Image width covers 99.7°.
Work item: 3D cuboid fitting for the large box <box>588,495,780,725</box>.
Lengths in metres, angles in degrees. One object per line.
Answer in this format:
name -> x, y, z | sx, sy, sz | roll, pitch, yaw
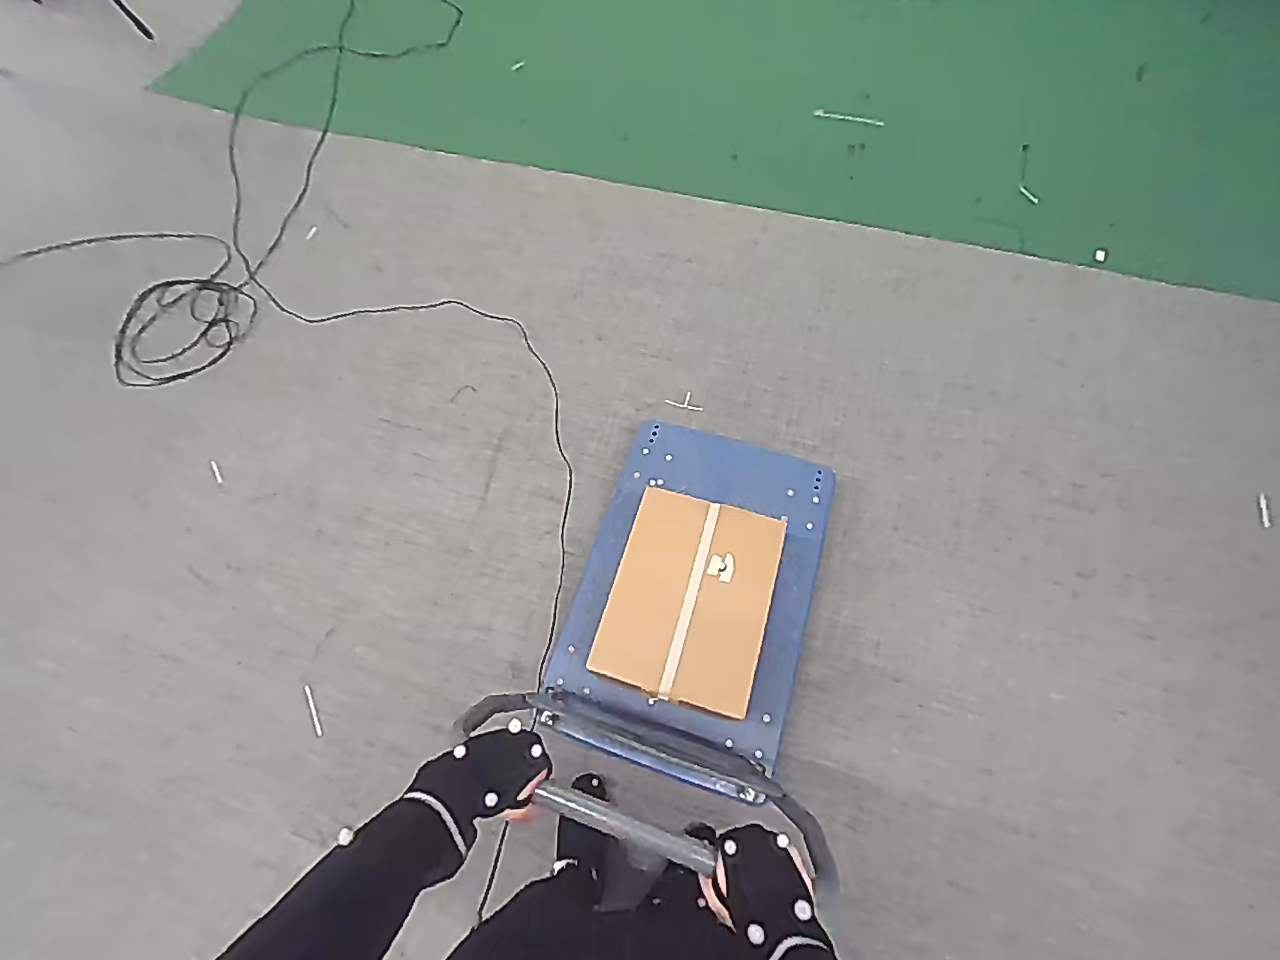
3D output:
large box -> 0.104, 0.305, 1.229 | 0.320, 0.320, 0.408 | 15, 67, 8
